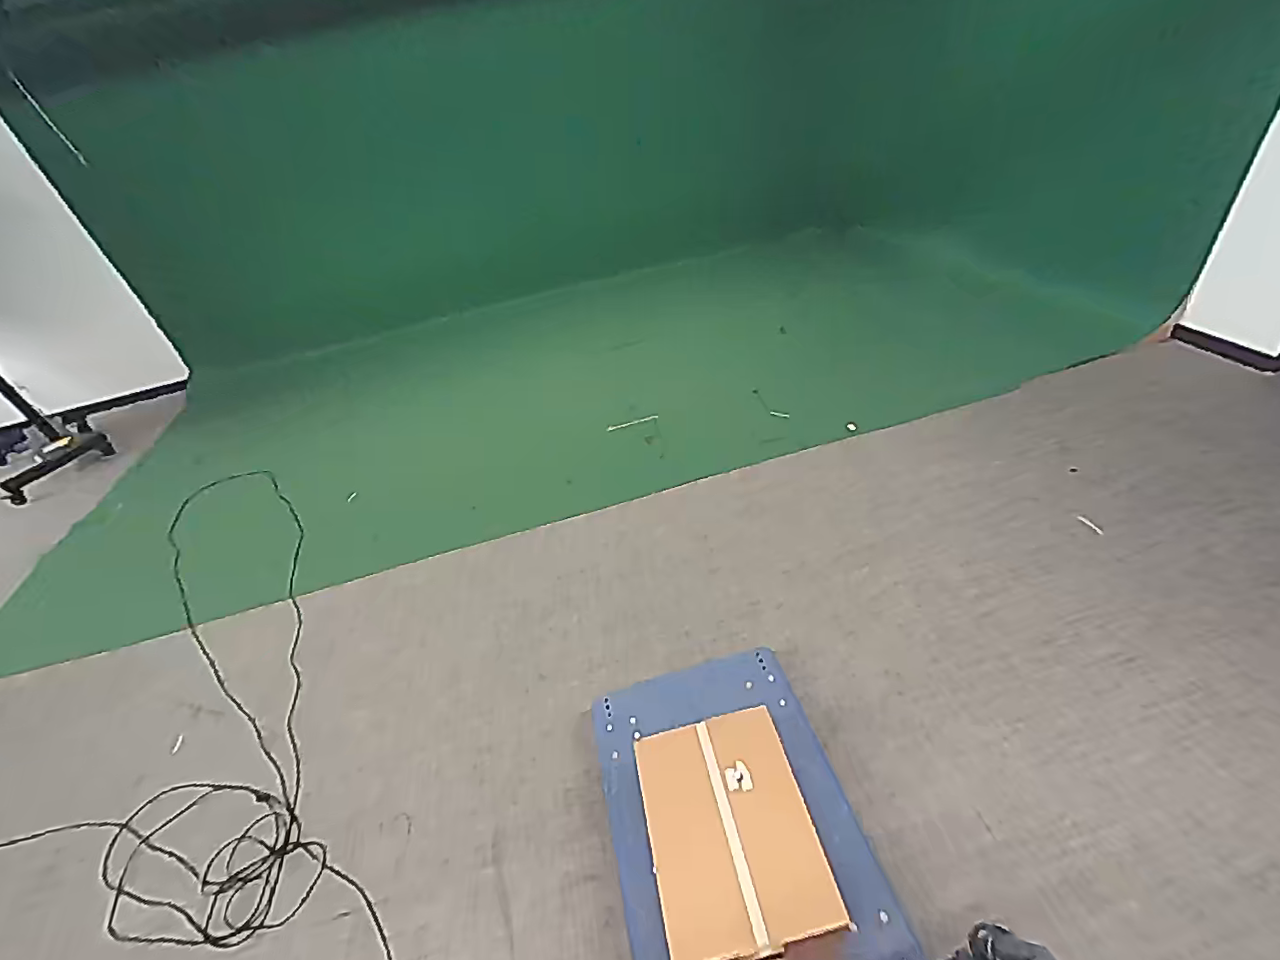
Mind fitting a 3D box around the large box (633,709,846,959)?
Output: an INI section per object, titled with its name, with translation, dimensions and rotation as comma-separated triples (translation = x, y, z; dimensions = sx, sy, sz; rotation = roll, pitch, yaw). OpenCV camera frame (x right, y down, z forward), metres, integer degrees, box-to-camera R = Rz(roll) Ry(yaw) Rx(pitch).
[large box]
translation = 0.195, 0.786, 1.151
dimensions = 0.320, 0.320, 0.408
rotation = -14, 37, -2
